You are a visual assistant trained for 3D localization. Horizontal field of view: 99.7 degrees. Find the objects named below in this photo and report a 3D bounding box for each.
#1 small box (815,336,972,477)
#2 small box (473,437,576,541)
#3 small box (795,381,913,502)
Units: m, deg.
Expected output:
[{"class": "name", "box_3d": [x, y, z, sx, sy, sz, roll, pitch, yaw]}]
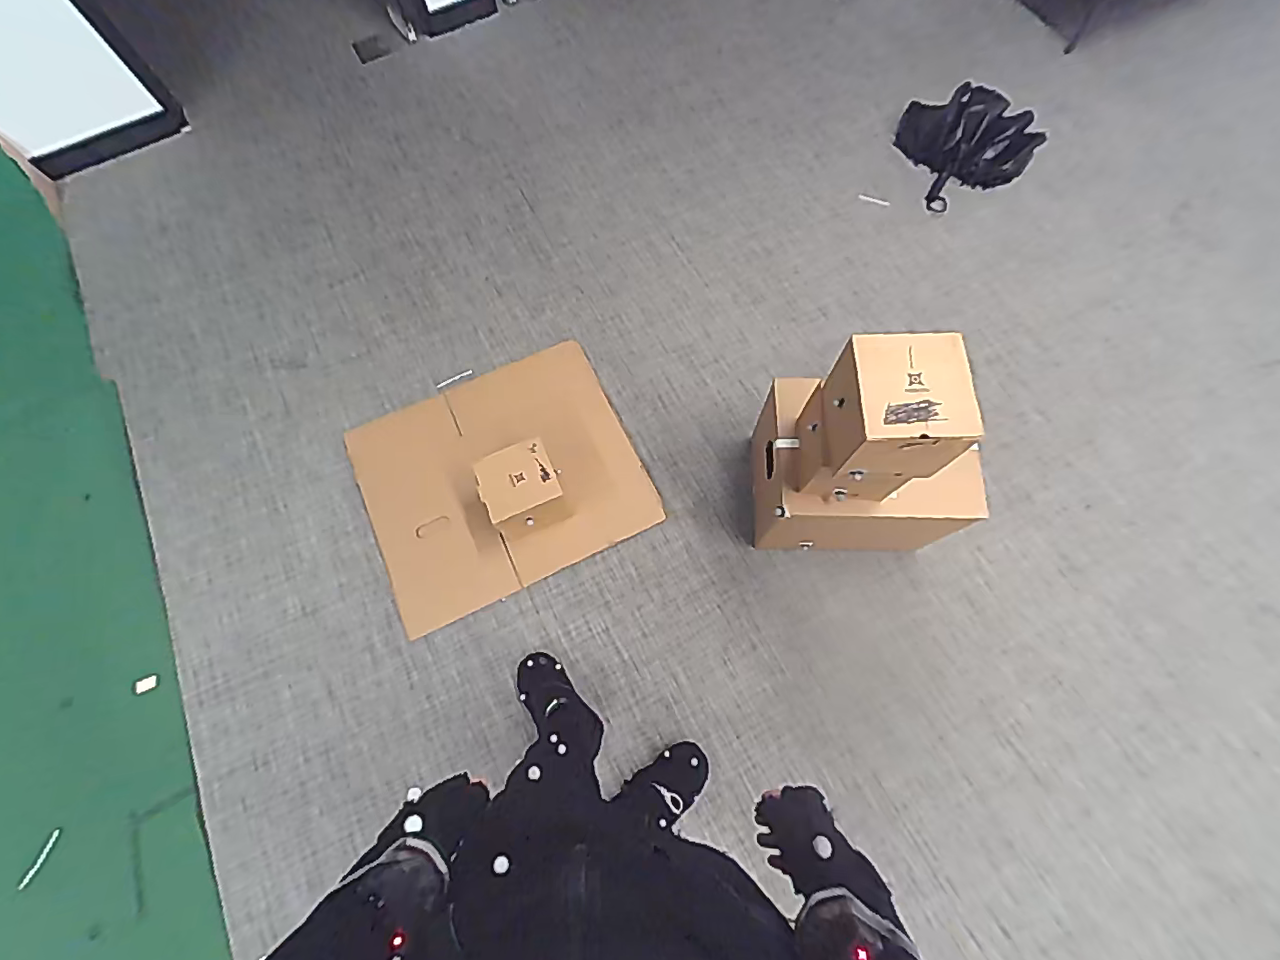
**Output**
[{"class": "small box", "box_3d": [0.394, -0.108, 0.873, 0.168, 0.176, 0.179, -4, 72, 2]}, {"class": "small box", "box_3d": [-0.279, 0.029, 1.335, 0.179, 0.176, 0.168, -26, 69, -5]}, {"class": "small box", "box_3d": [0.398, -0.069, 1.033, 0.168, 0.176, 0.179, 3, 73, 4]}]
